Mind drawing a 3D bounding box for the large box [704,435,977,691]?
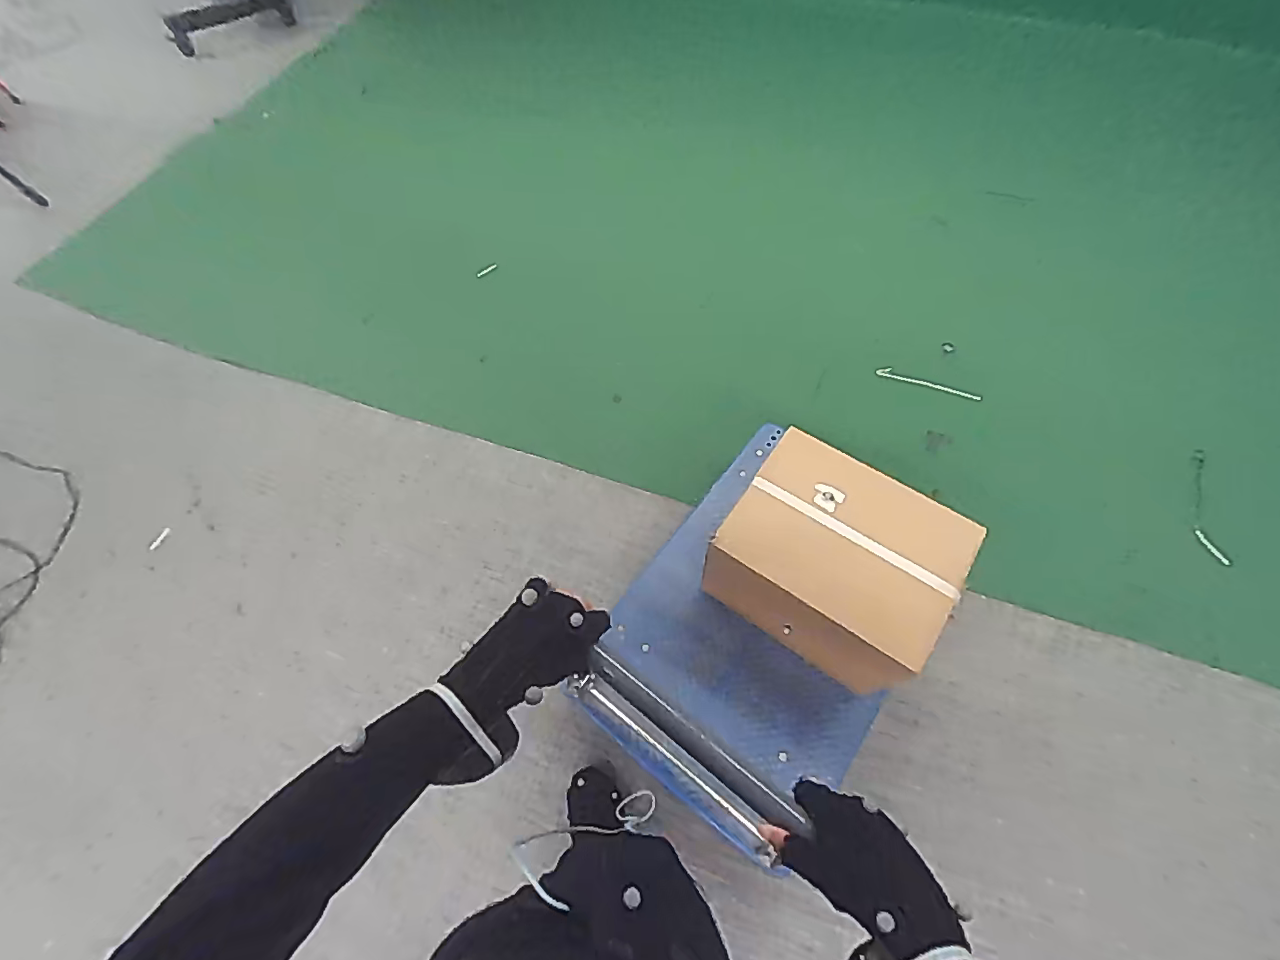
[{"bbox_3d":[0.386,0.181,1.133,0.408,0.320,0.320,31,67,19],"label":"large box"}]
